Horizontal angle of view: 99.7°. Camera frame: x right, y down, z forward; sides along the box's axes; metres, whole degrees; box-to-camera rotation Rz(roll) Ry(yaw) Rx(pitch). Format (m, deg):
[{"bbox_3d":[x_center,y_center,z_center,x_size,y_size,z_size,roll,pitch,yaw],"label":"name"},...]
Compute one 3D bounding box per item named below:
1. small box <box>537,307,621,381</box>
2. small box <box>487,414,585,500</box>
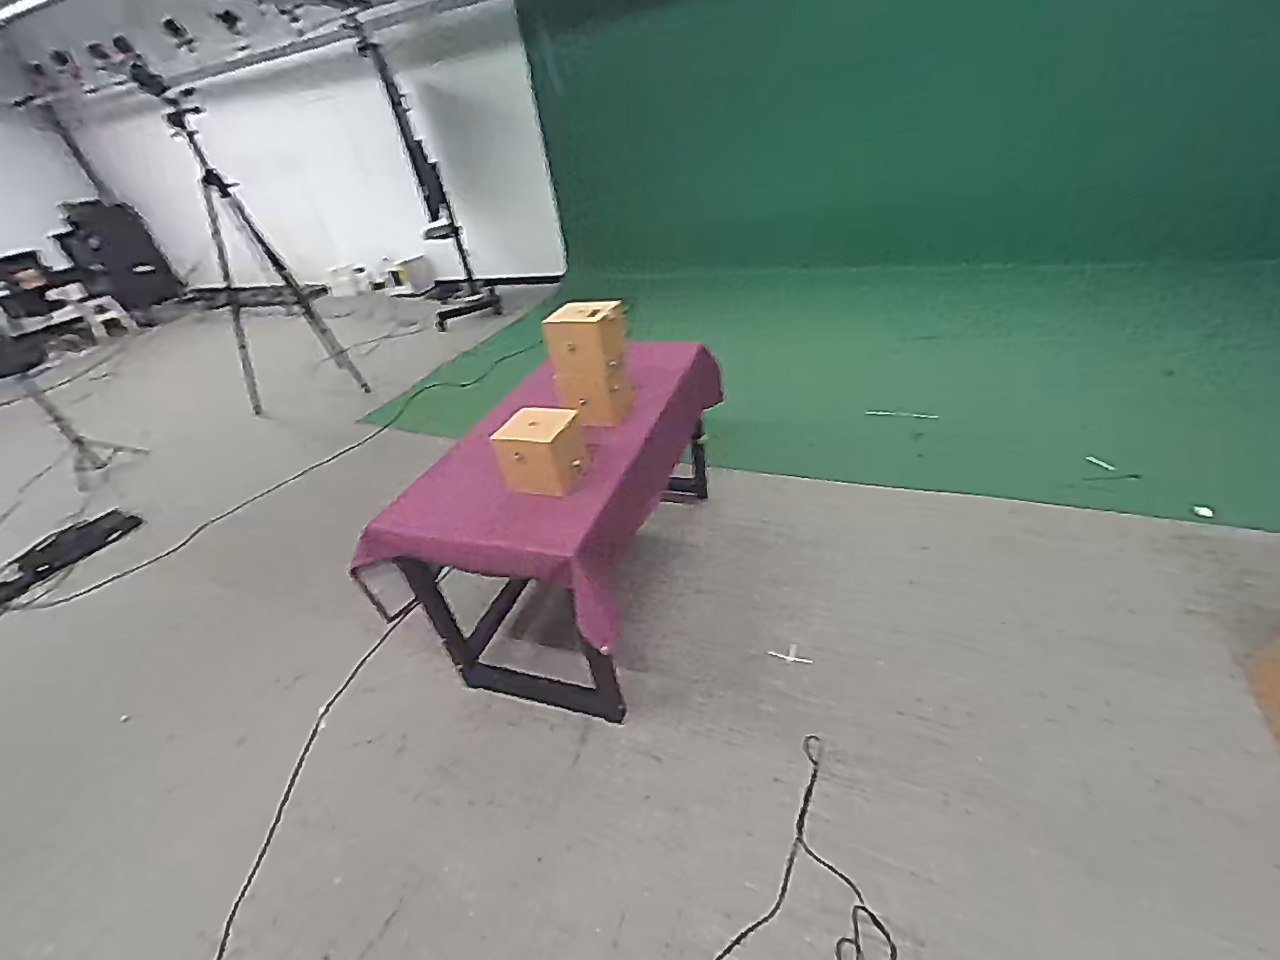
[{"bbox_3d":[-0.171,-0.401,1.604,0.179,0.176,0.168,4,37,23],"label":"small box"},{"bbox_3d":[-0.268,-0.061,1.431,0.179,0.176,0.168,5,38,21],"label":"small box"}]
